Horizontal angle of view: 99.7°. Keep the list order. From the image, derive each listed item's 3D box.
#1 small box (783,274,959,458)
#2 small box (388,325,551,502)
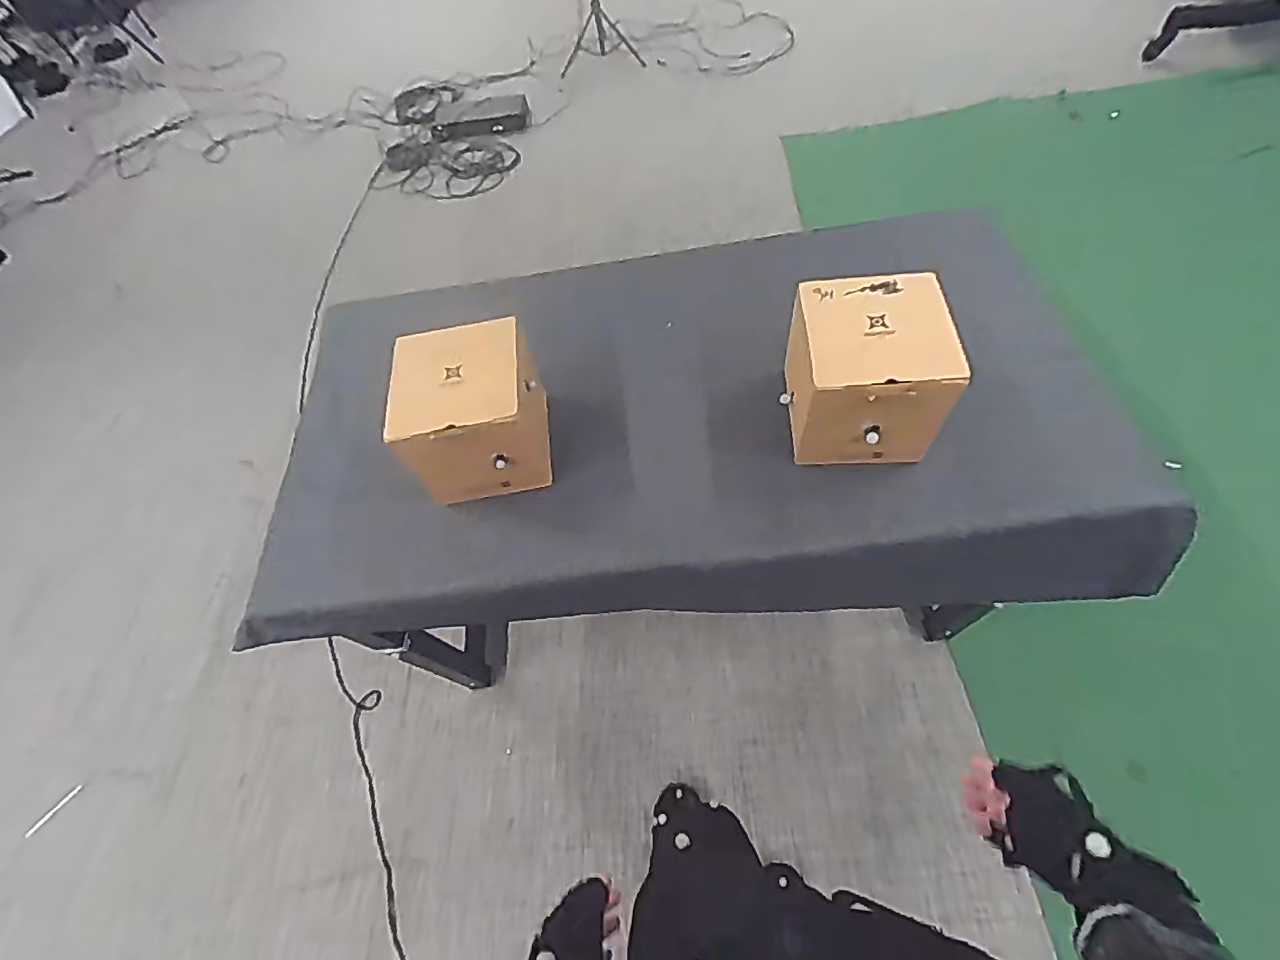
[{"bbox_3d":[0.284,-0.138,0.710,0.168,0.176,0.179,-2,61,7],"label":"small box"},{"bbox_3d":[-0.228,-0.083,0.760,0.168,0.176,0.179,-11,58,1],"label":"small box"}]
